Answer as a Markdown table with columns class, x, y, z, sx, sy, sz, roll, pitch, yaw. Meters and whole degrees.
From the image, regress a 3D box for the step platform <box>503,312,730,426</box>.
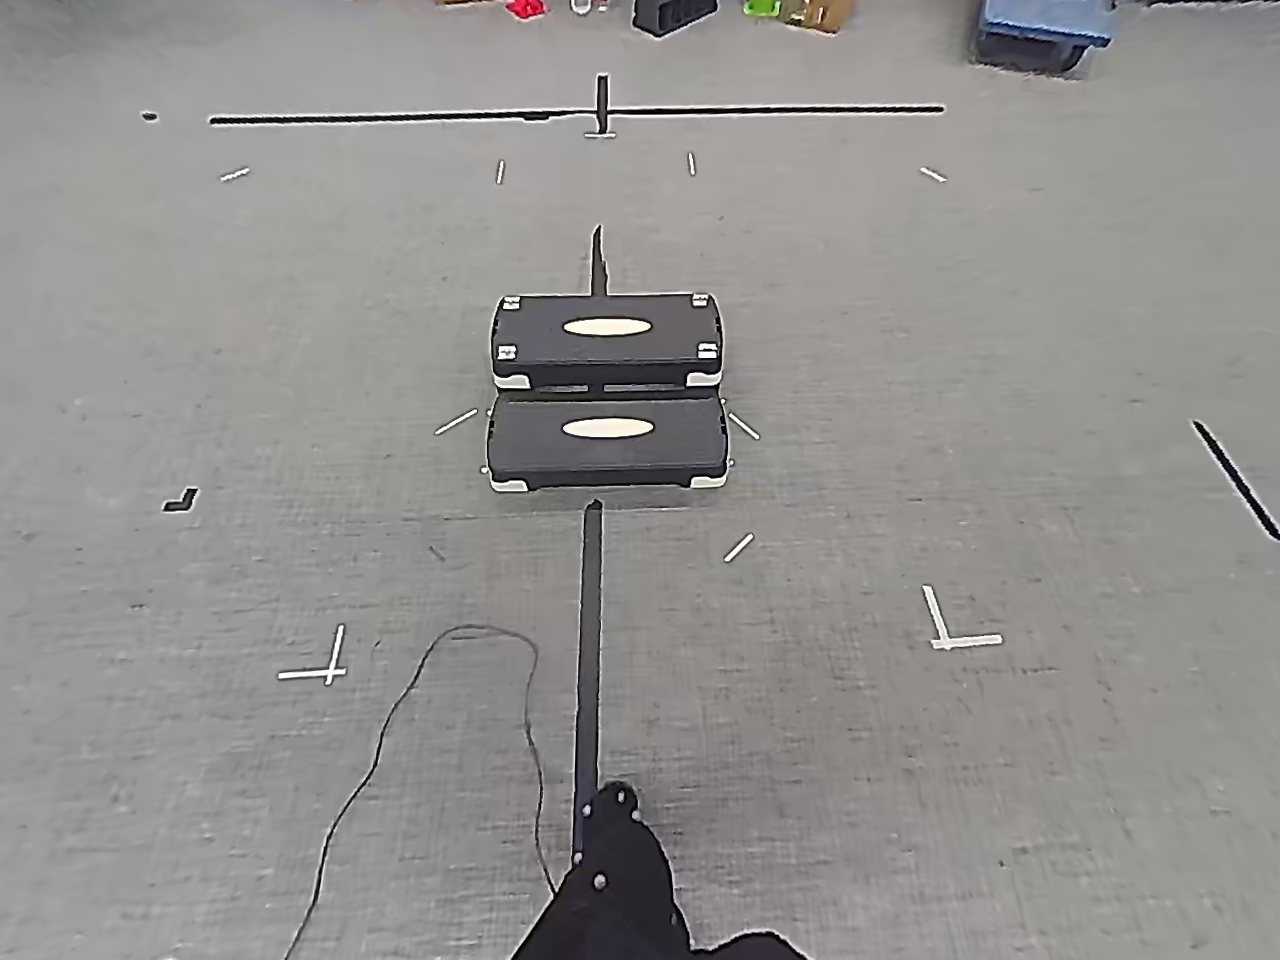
| class | x | y | z | sx | sy | sz | roll | pitch | yaw |
| --- | --- | --- | --- | --- | --- | --- | --- | --- | --- |
| step platform | -0.068 | -0.342 | 1.655 | 0.684 | 0.204 | 0.286 | 3 | 59 | 0 |
